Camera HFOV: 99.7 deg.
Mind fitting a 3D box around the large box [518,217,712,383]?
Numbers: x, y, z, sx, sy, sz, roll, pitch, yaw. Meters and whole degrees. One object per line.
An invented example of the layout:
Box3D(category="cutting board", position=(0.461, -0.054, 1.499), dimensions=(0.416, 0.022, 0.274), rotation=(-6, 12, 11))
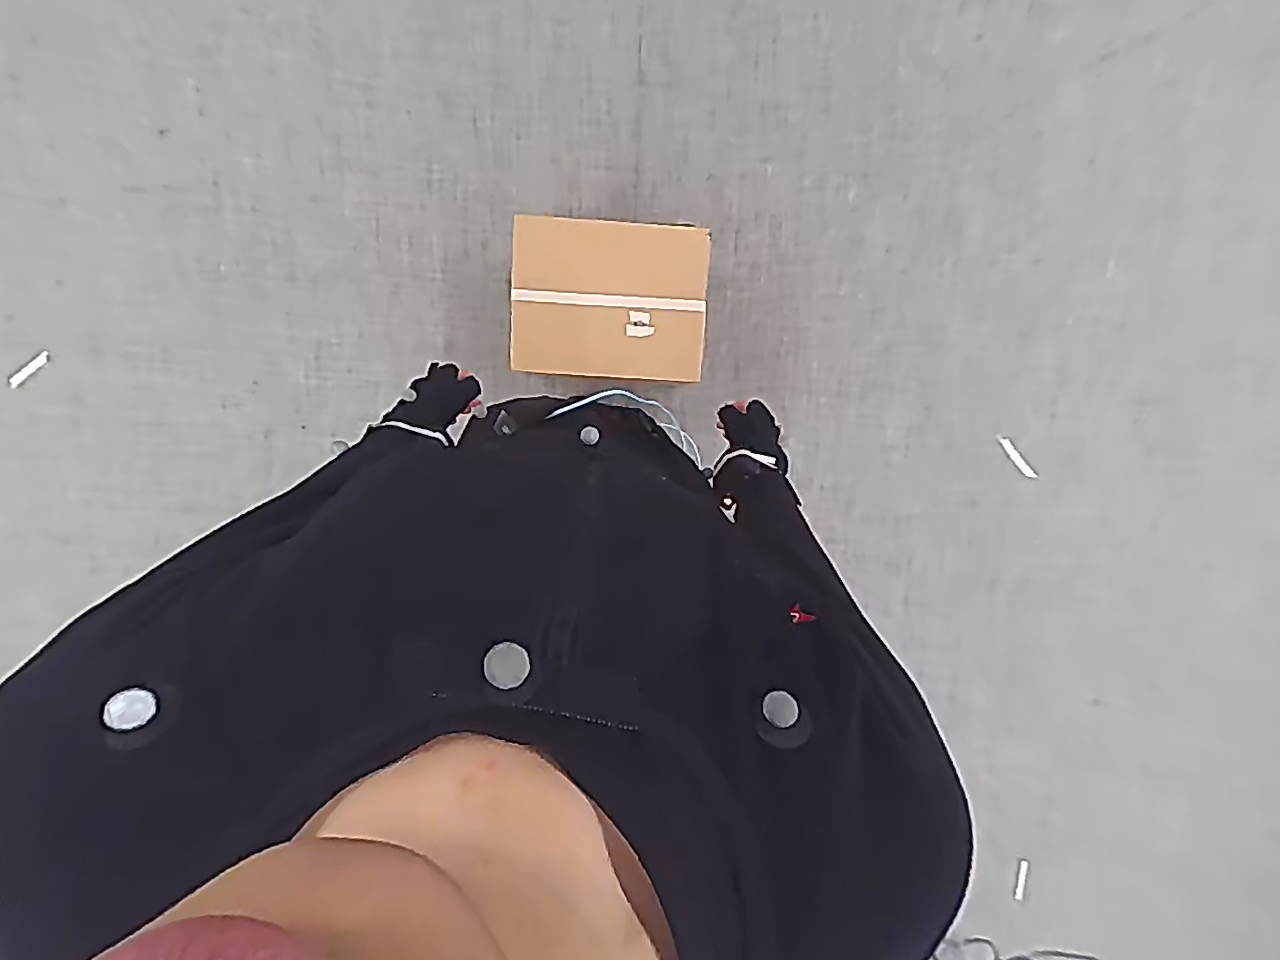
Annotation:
Box3D(category="large box", position=(-0.063, -0.398, 1.280), dimensions=(0.408, 0.320, 0.320), rotation=(3, 99, -3))
